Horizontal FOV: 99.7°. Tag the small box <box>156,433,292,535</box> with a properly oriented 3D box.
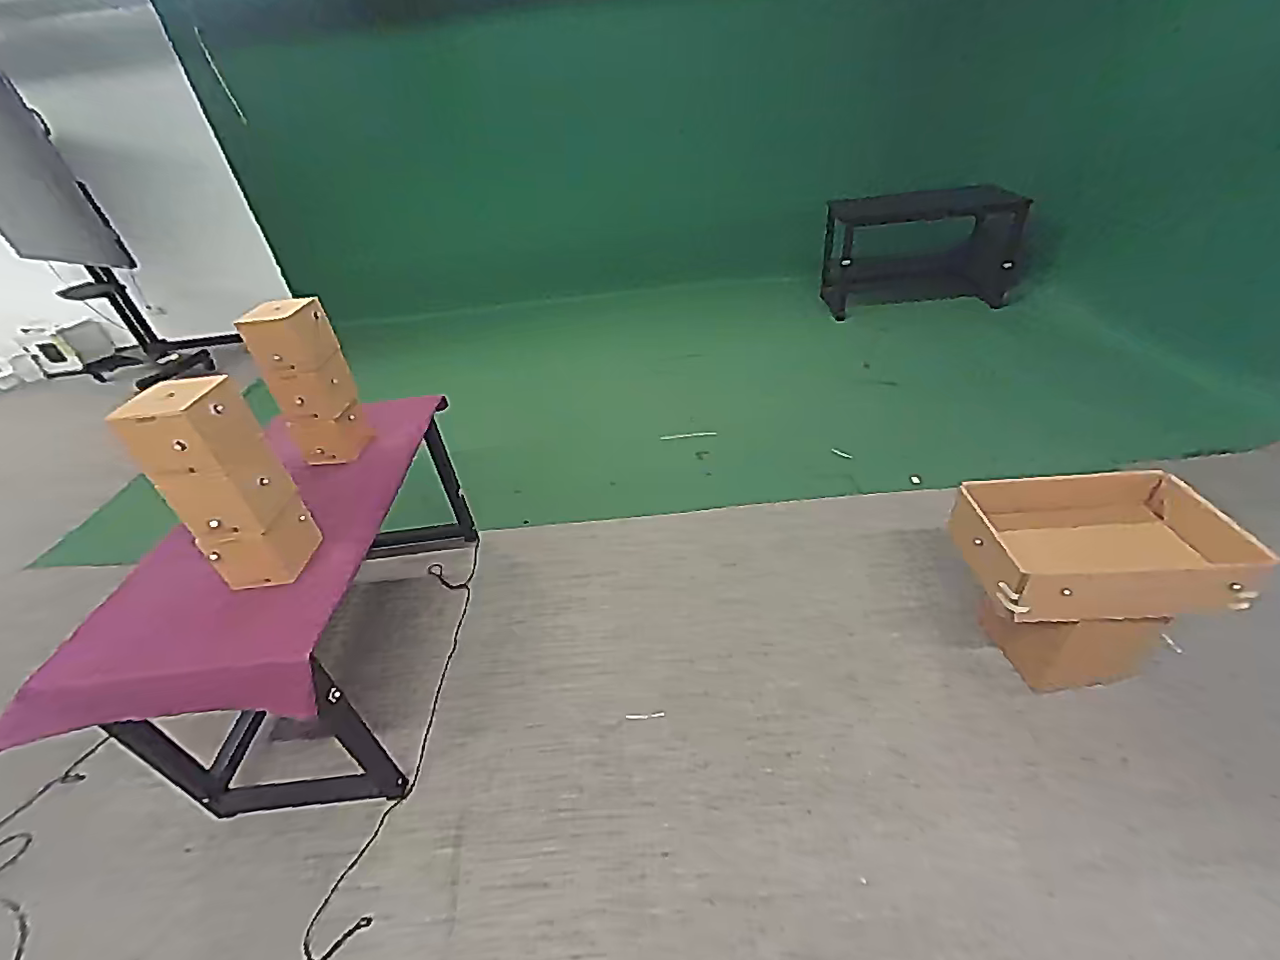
[{"bbox_3d":[-0.971,0.009,1.287,0.168,0.176,0.179,-6,37,1],"label":"small box"}]

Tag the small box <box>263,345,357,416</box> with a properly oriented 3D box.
[{"bbox_3d":[-1.044,-0.313,1.729,0.168,0.176,0.179,-2,38,4],"label":"small box"}]

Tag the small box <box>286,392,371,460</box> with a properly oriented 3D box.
[{"bbox_3d":[-1.042,-0.182,1.829,0.168,0.176,0.179,-2,38,4],"label":"small box"}]

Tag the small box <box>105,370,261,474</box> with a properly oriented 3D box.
[{"bbox_3d":[-0.988,-0.124,1.193,0.168,0.176,0.179,-4,36,1],"label":"small box"}]

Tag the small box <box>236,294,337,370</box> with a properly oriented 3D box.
[{"bbox_3d":[-1.054,-0.447,1.633,0.168,0.176,0.179,-3,38,5],"label":"small box"}]
